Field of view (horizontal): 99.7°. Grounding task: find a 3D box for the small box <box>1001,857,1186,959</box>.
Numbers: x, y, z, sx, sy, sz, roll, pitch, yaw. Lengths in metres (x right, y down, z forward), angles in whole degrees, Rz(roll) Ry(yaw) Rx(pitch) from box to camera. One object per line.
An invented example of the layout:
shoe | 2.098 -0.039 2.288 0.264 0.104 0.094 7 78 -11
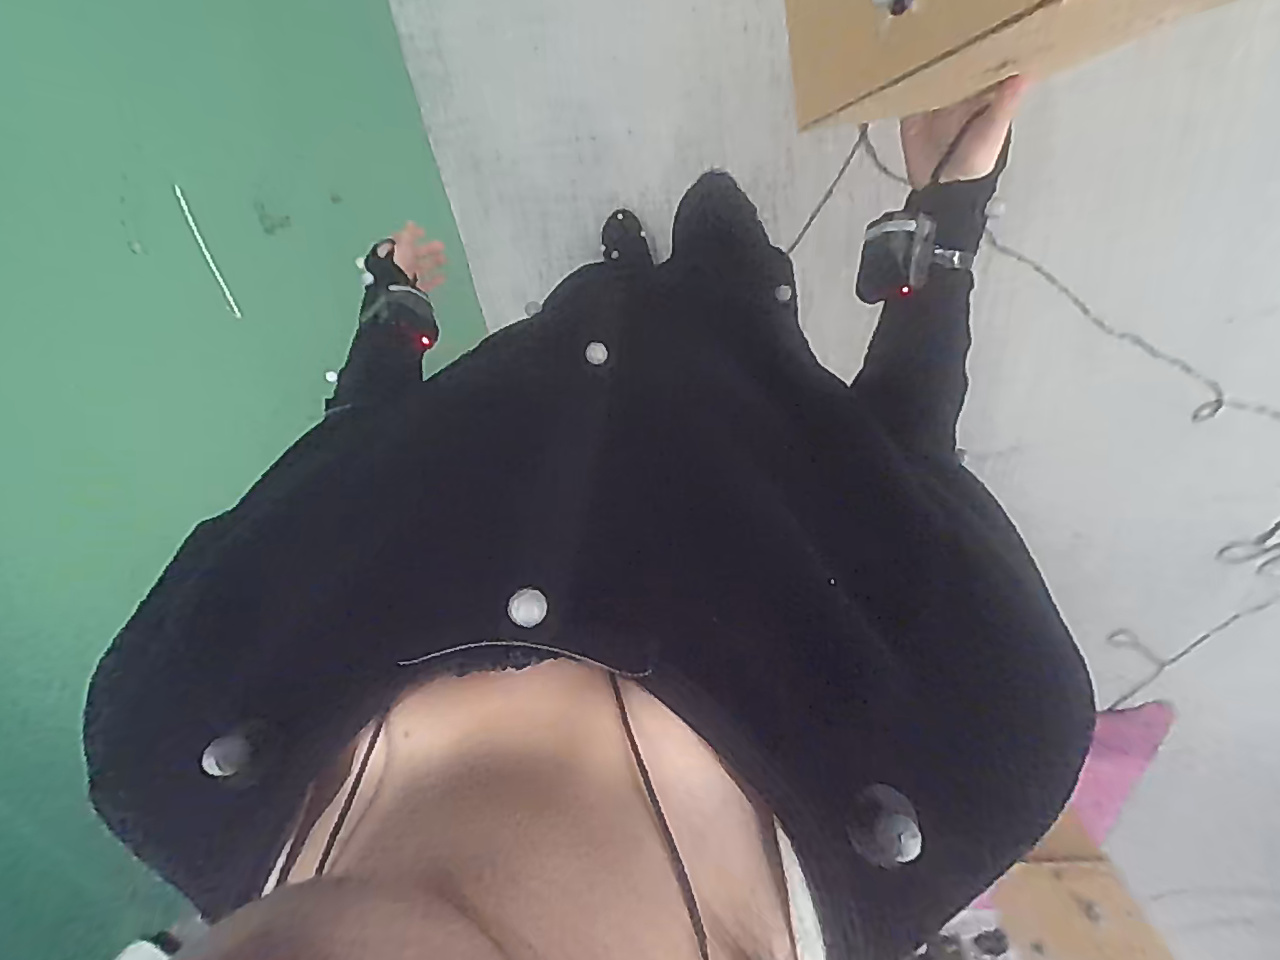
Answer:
small box | 0.751 0.769 0.916 0.168 0.176 0.179 -6 118 6

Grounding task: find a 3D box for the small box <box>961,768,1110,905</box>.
small box | 0.759 0.699 1.064 0.168 0.176 0.179 -7 118 6

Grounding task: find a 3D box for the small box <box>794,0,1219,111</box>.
small box | 0.194 -0.317 0.273 0.168 0.179 0.176 -18 111 -15
